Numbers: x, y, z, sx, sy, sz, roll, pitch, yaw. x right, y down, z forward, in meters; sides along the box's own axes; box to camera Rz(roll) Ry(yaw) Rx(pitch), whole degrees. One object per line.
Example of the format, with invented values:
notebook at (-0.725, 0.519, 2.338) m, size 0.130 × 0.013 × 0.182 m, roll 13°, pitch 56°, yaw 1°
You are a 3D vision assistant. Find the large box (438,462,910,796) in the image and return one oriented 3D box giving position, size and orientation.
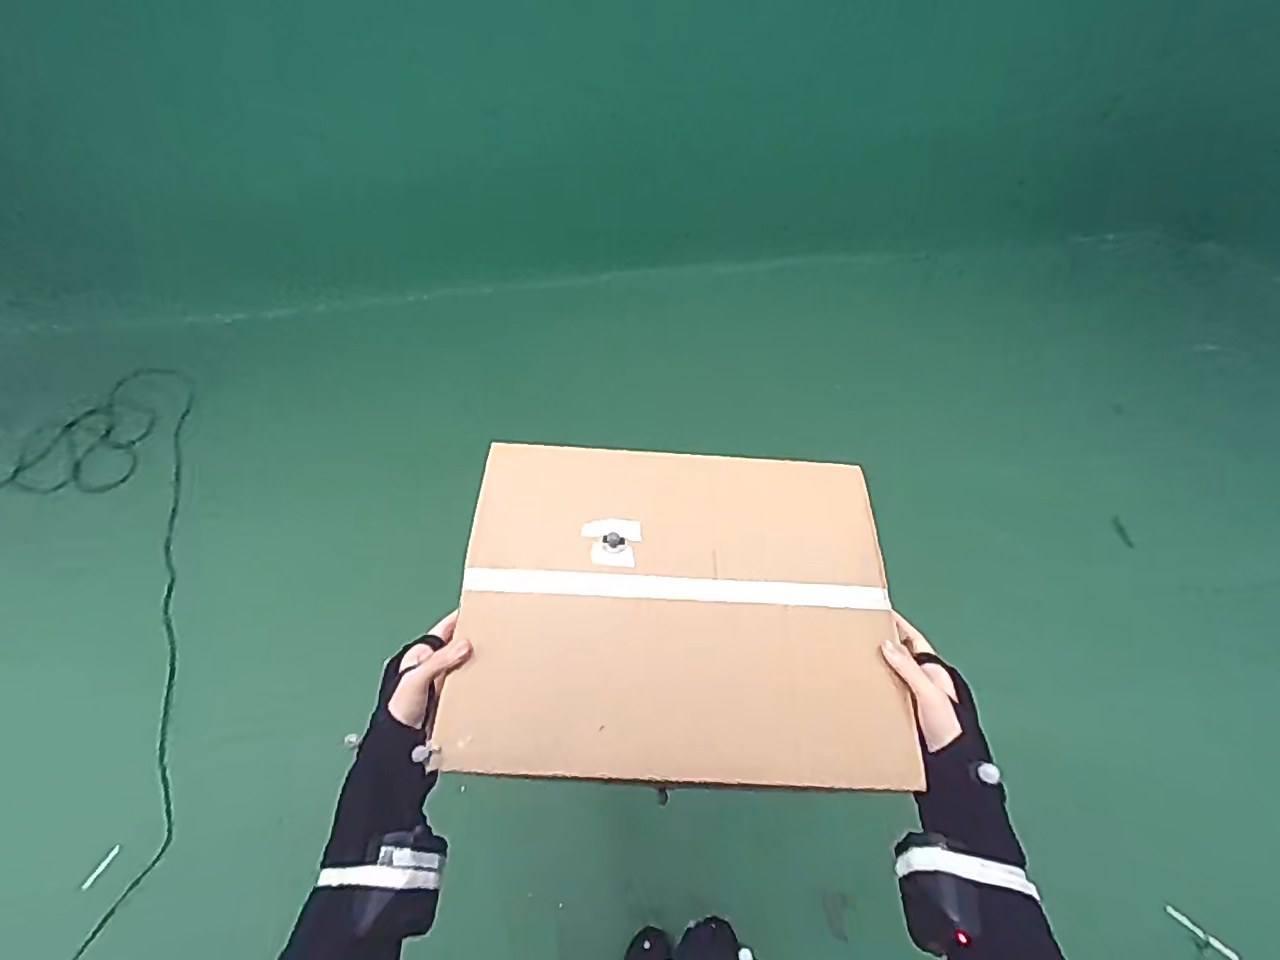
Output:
large box at (0.030, 0.194, 0.651) m, size 0.408 × 0.320 × 0.320 m, roll 3°, pitch 59°, yaw -1°
